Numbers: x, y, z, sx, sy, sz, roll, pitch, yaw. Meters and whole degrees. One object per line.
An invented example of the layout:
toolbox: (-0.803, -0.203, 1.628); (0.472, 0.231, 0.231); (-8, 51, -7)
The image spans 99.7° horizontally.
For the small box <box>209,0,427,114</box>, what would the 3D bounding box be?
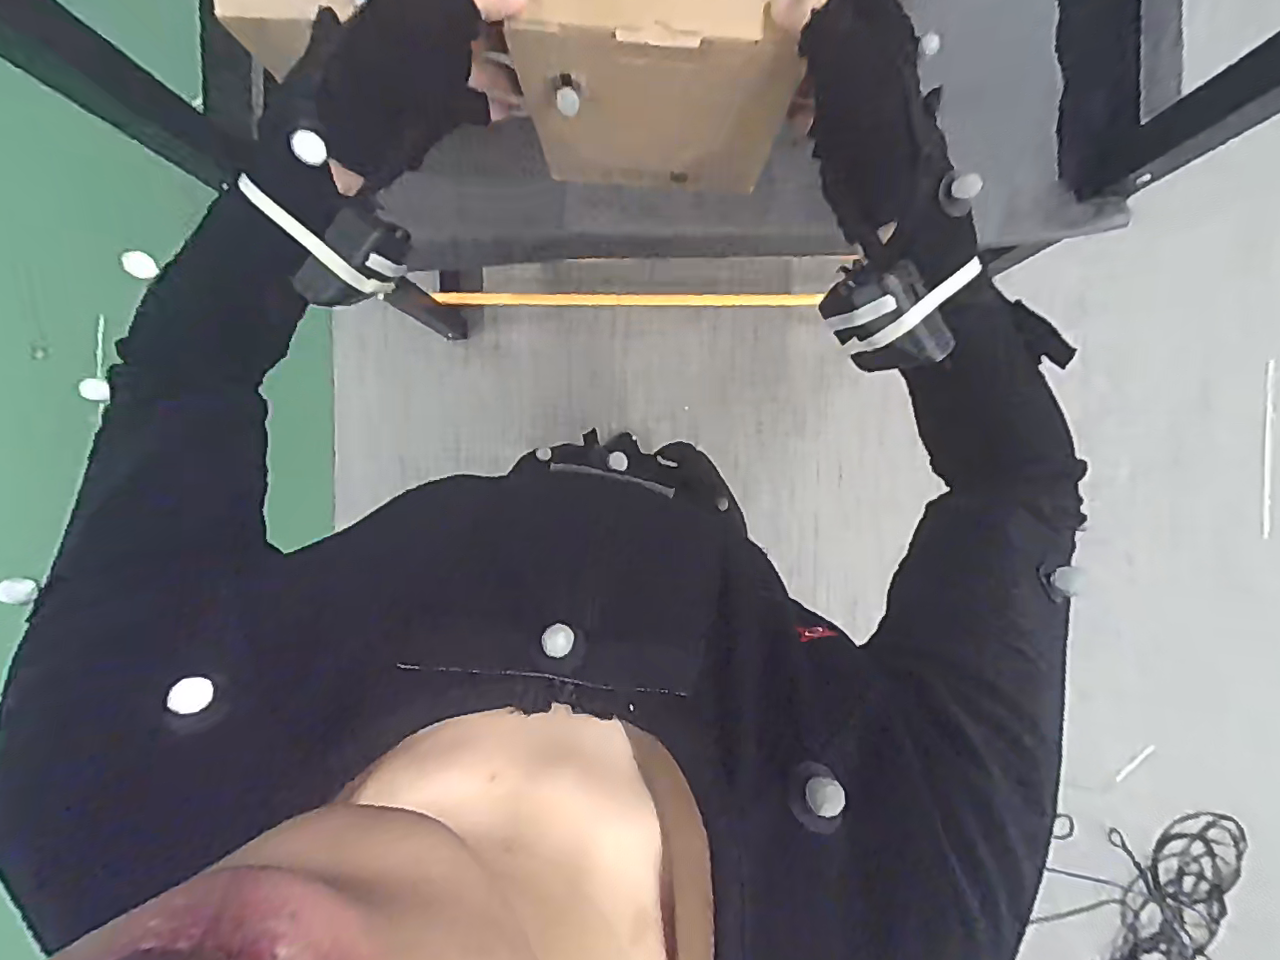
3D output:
small box: (-0.368, -0.575, 0.645); (0.168, 0.176, 0.179); (3, 92, 0)
